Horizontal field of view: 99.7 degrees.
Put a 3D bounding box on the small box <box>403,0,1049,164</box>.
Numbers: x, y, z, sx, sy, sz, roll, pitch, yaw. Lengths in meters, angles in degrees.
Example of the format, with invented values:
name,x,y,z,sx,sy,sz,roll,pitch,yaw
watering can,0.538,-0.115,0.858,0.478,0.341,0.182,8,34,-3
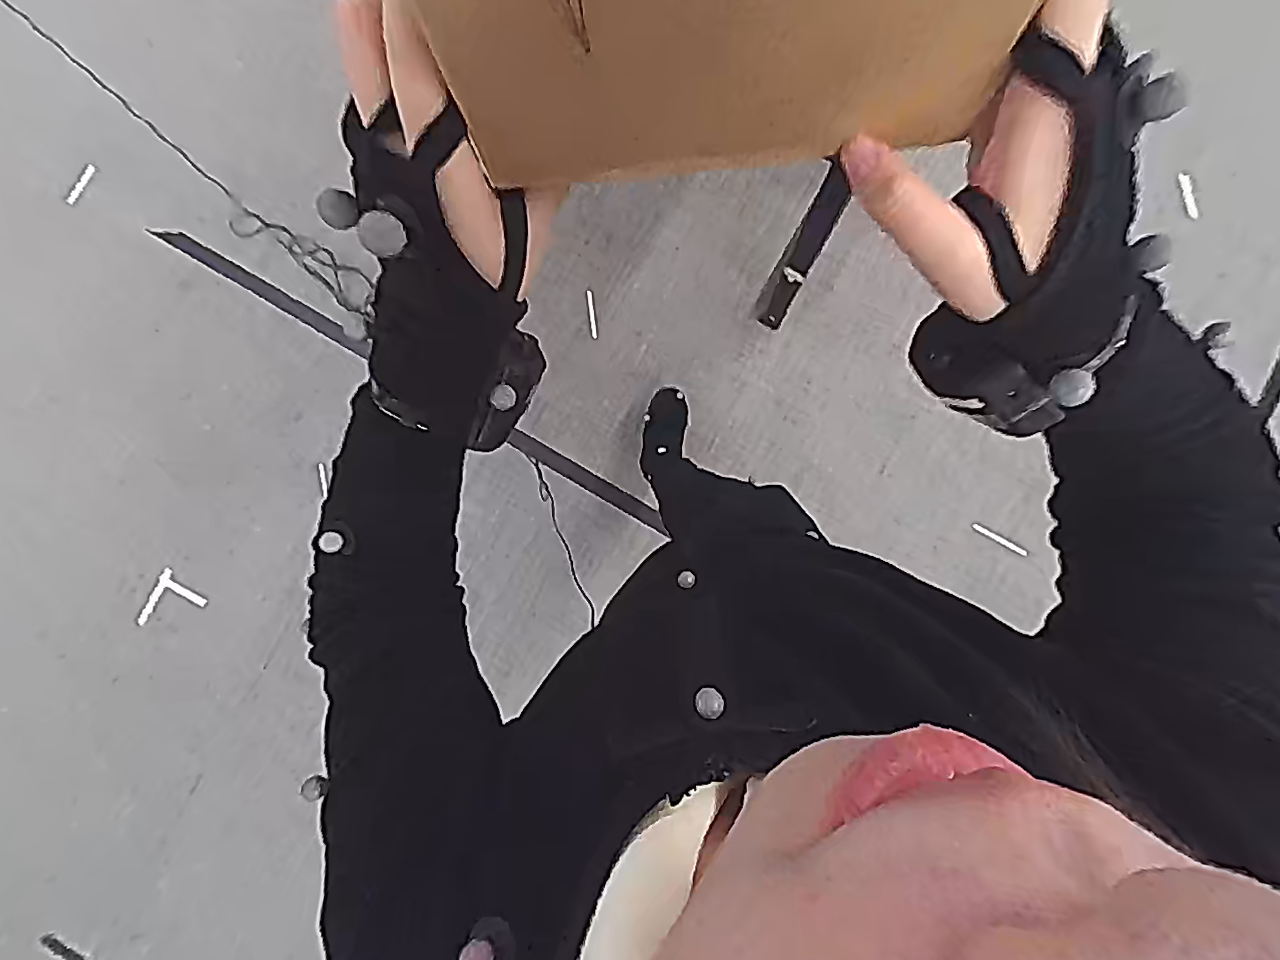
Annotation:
name,x,y,z,sx,sy,sz,roll,pitch,yaw
small box,0.019,-0.214,0.127,0.179,0.168,0.176,-2,74,5
